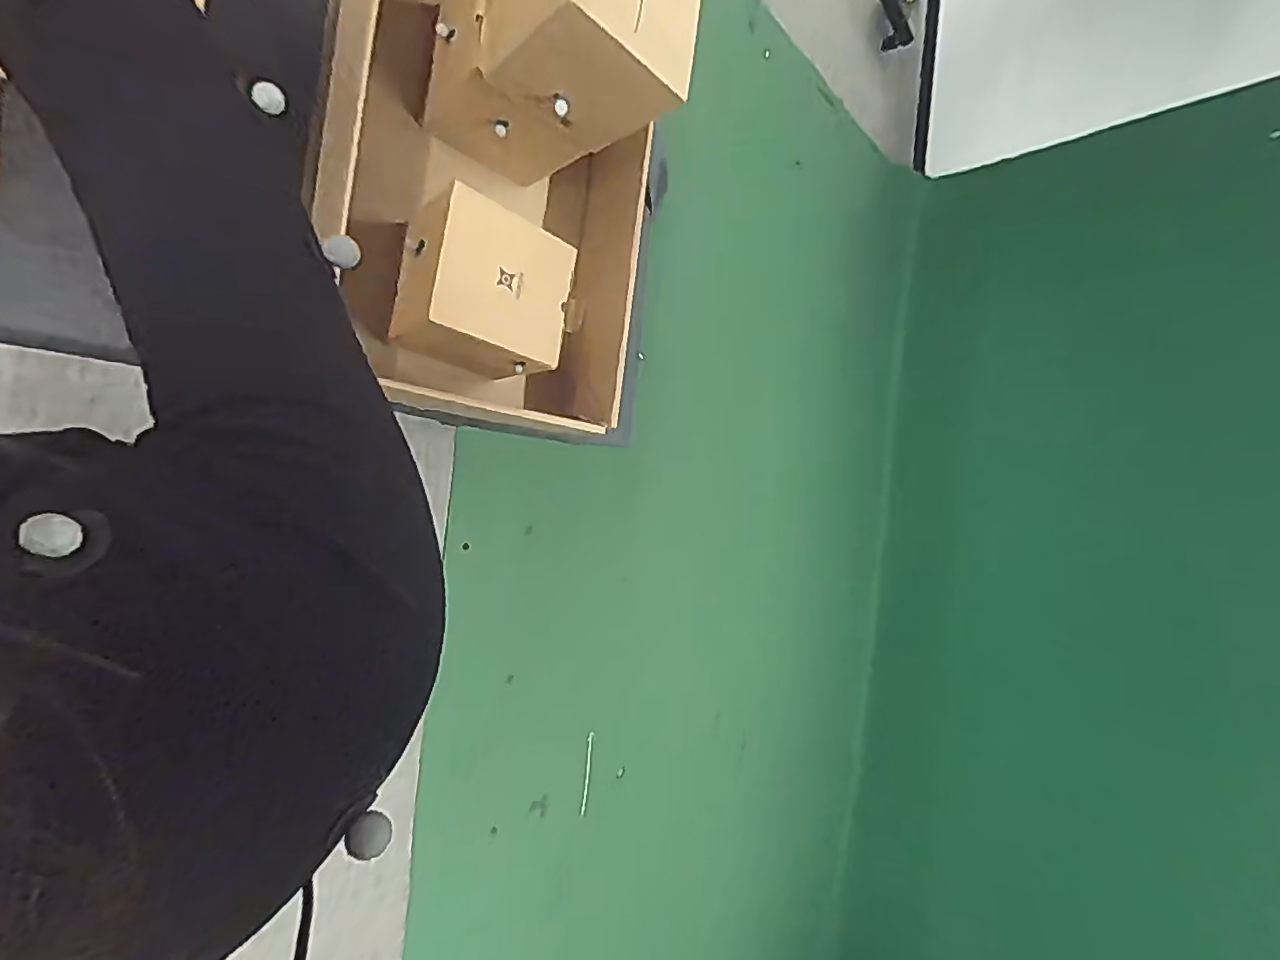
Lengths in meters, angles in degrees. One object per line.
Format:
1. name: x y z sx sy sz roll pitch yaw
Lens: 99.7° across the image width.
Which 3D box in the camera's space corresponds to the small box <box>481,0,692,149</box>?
1. small box: -0.061 -0.522 0.609 0.168 0.176 0.179 8 90 -45
